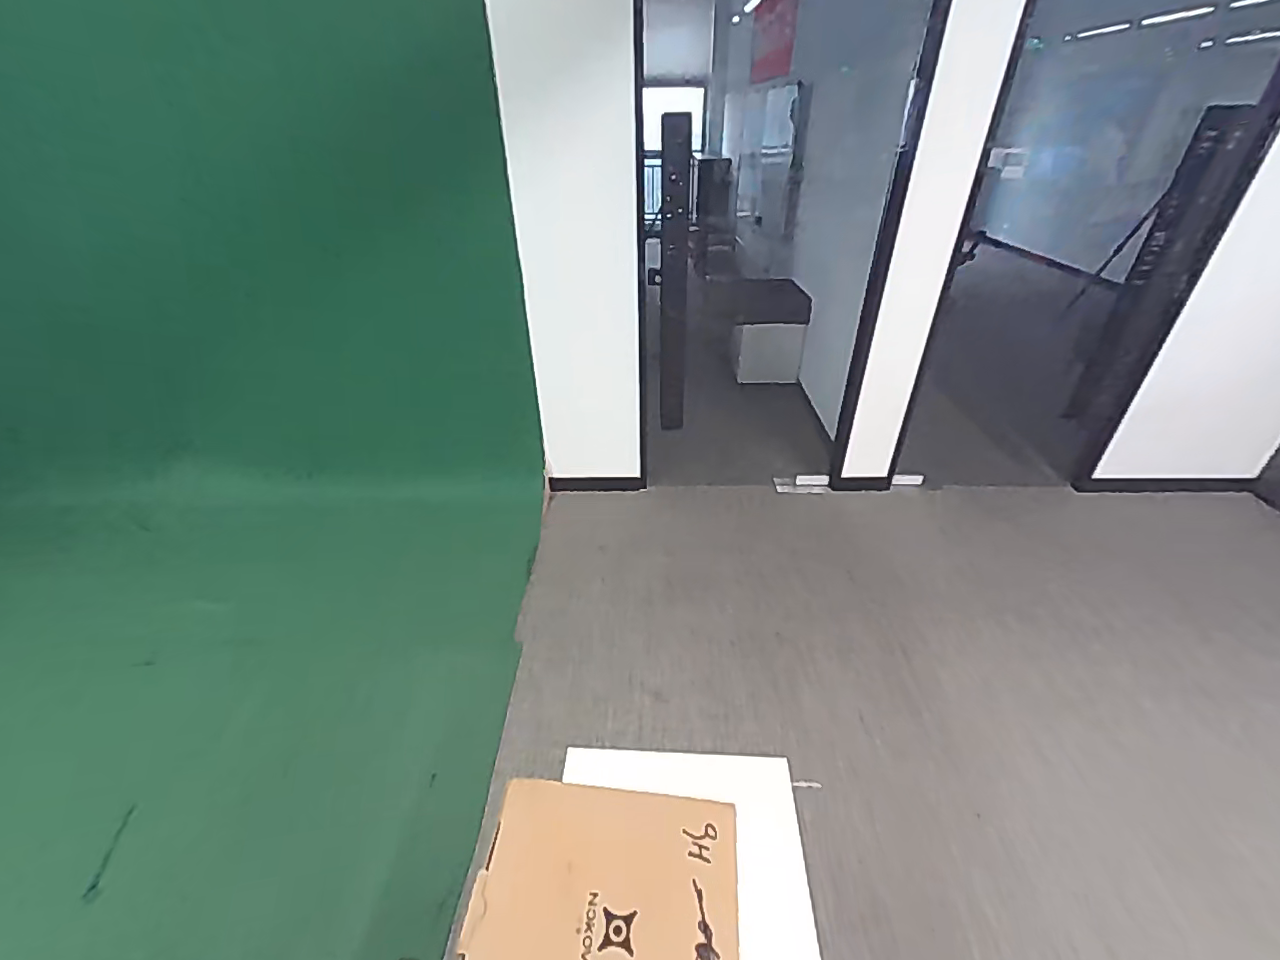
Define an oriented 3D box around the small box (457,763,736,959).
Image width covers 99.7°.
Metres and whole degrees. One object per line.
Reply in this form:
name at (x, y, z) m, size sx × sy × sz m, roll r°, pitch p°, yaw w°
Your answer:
small box at (-0.024, 0.341, 0.409) m, size 0.179 × 0.176 × 0.168 m, roll 5°, pitch 42°, yaw 4°
